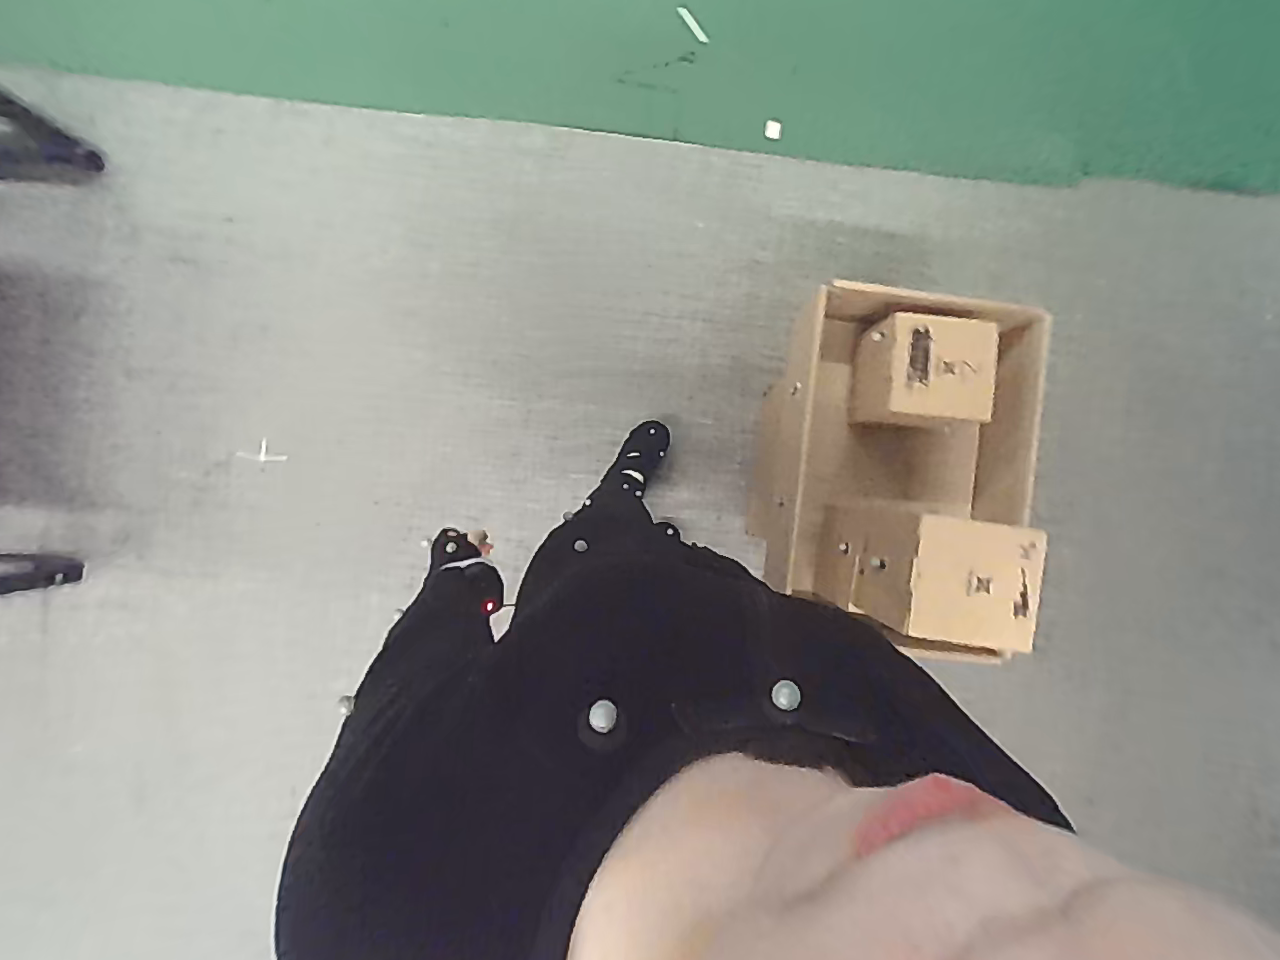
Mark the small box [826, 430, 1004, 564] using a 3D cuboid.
[{"bbox_3d":[0.389,0.023,0.799,0.179,0.176,0.168,-7,92,-2],"label":"small box"}]
